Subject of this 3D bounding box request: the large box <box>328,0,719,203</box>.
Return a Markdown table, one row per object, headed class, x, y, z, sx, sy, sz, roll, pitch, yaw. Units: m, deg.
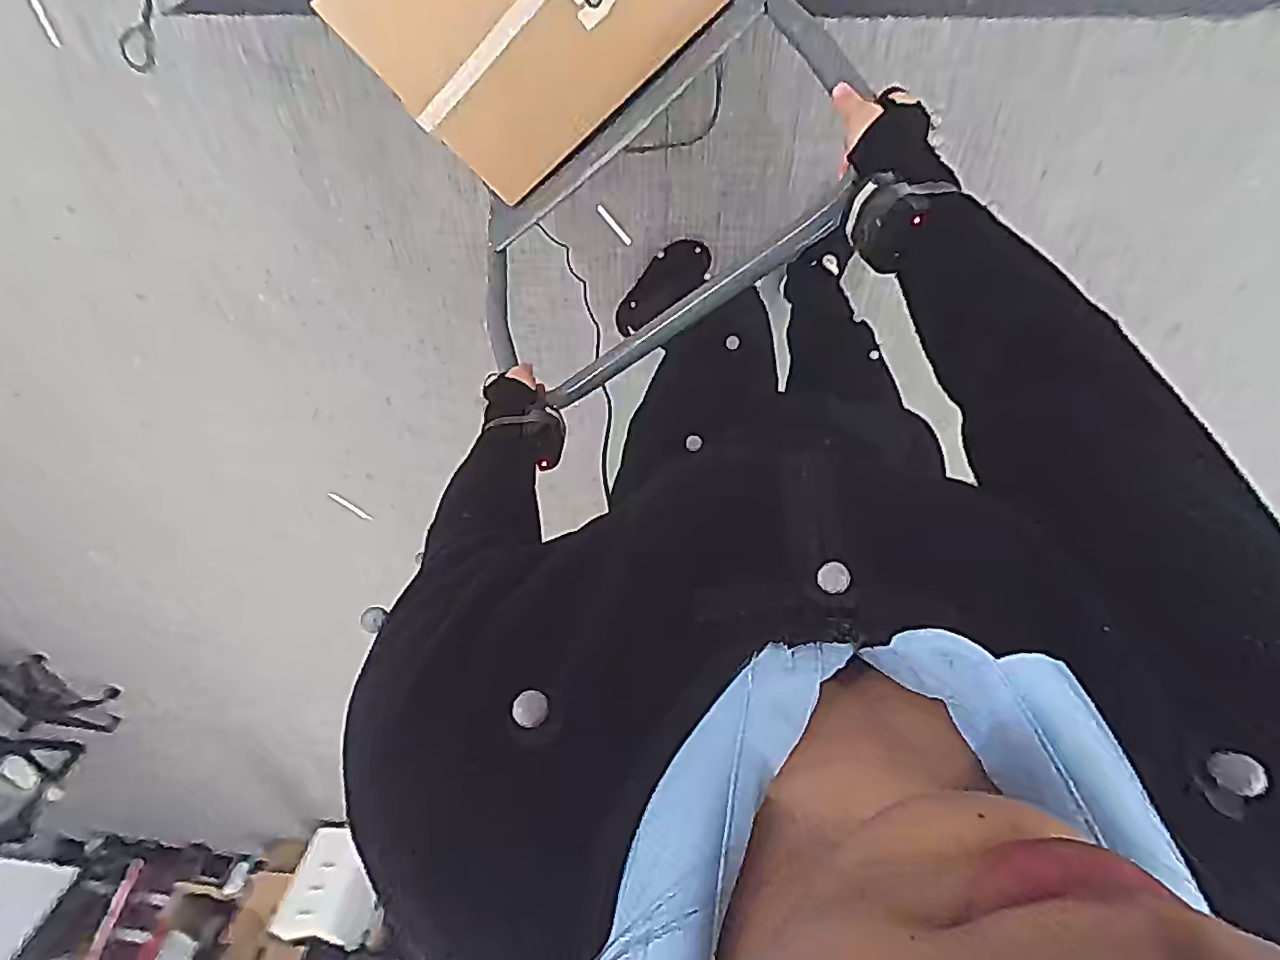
| class | x | y | z | sx | sy | sz | roll | pitch | yaw |
| --- | --- | --- | --- | --- | --- | --- | --- | --- | --- |
| large box | -0.150 | -0.700 | 0.753 | 0.408 | 0.320 | 0.320 | -31 | 137 | 25 |
